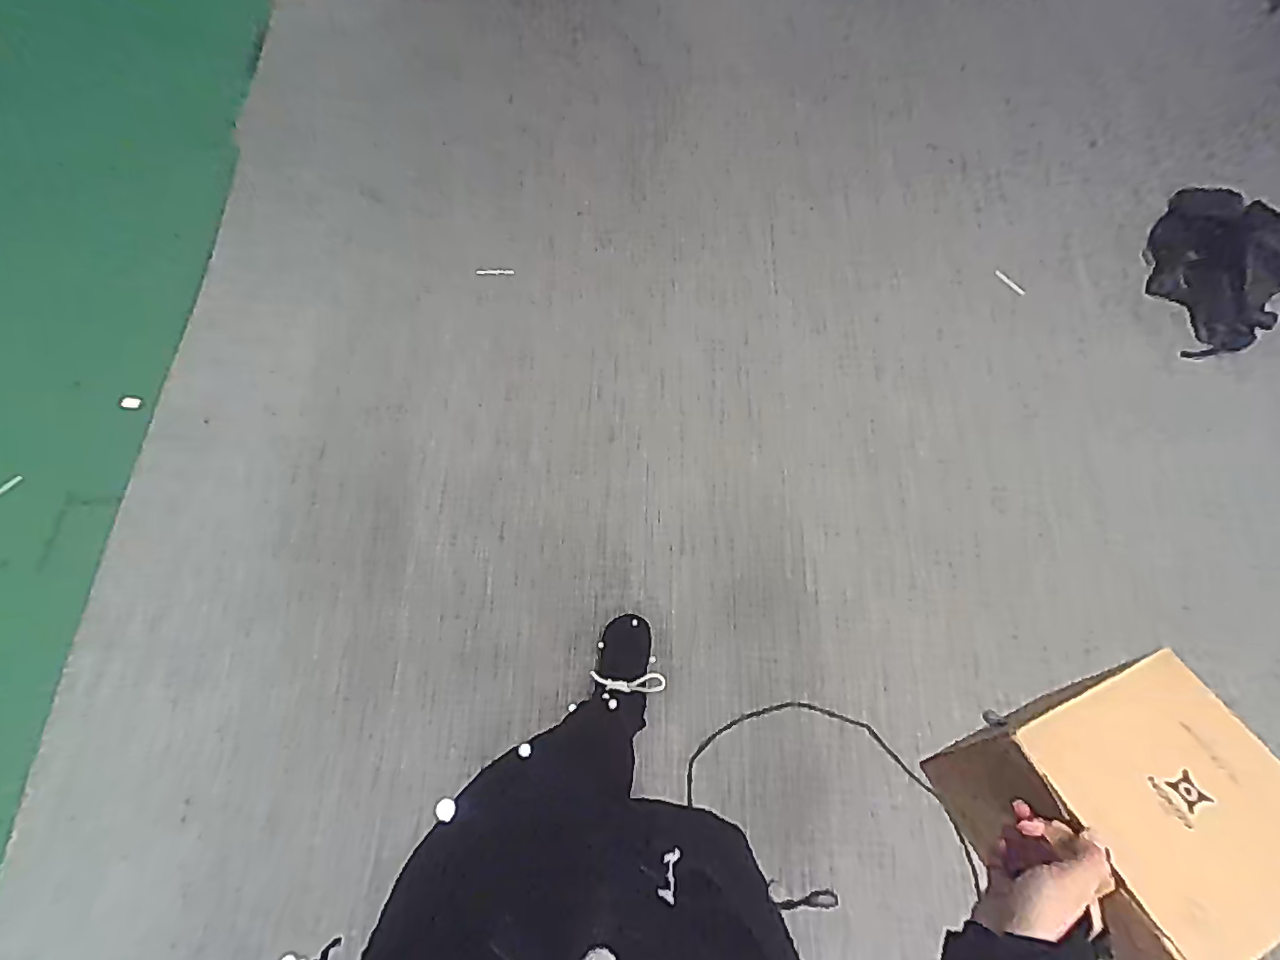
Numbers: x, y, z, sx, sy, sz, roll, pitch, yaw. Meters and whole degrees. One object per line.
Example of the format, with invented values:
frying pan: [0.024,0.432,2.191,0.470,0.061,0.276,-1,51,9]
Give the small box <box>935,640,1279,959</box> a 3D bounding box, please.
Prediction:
small box: [0.390,0.269,0.462,0.179,0.176,0.168,-19,57,-15]
